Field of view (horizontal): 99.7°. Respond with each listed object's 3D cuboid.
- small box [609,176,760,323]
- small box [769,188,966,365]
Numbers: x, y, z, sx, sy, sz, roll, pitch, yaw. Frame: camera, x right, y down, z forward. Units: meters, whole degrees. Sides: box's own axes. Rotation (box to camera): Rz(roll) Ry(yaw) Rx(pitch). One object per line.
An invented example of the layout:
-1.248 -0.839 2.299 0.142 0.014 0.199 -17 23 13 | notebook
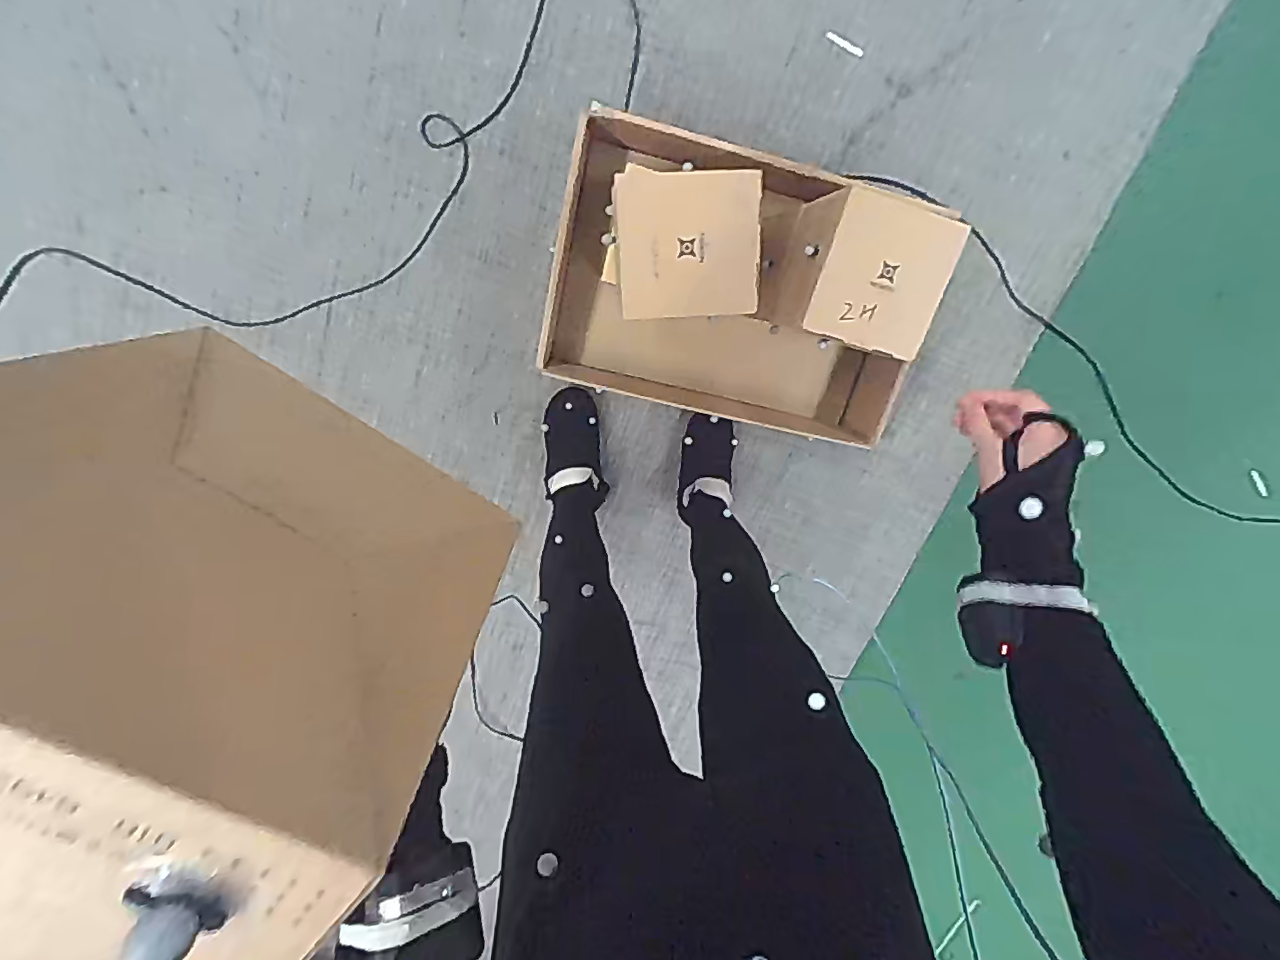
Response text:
0.052 -0.308 0.734 0.179 0.176 0.168 -4 111 -3 | small box
0.300 -0.278 0.757 0.168 0.176 0.179 14 109 -8 | small box
